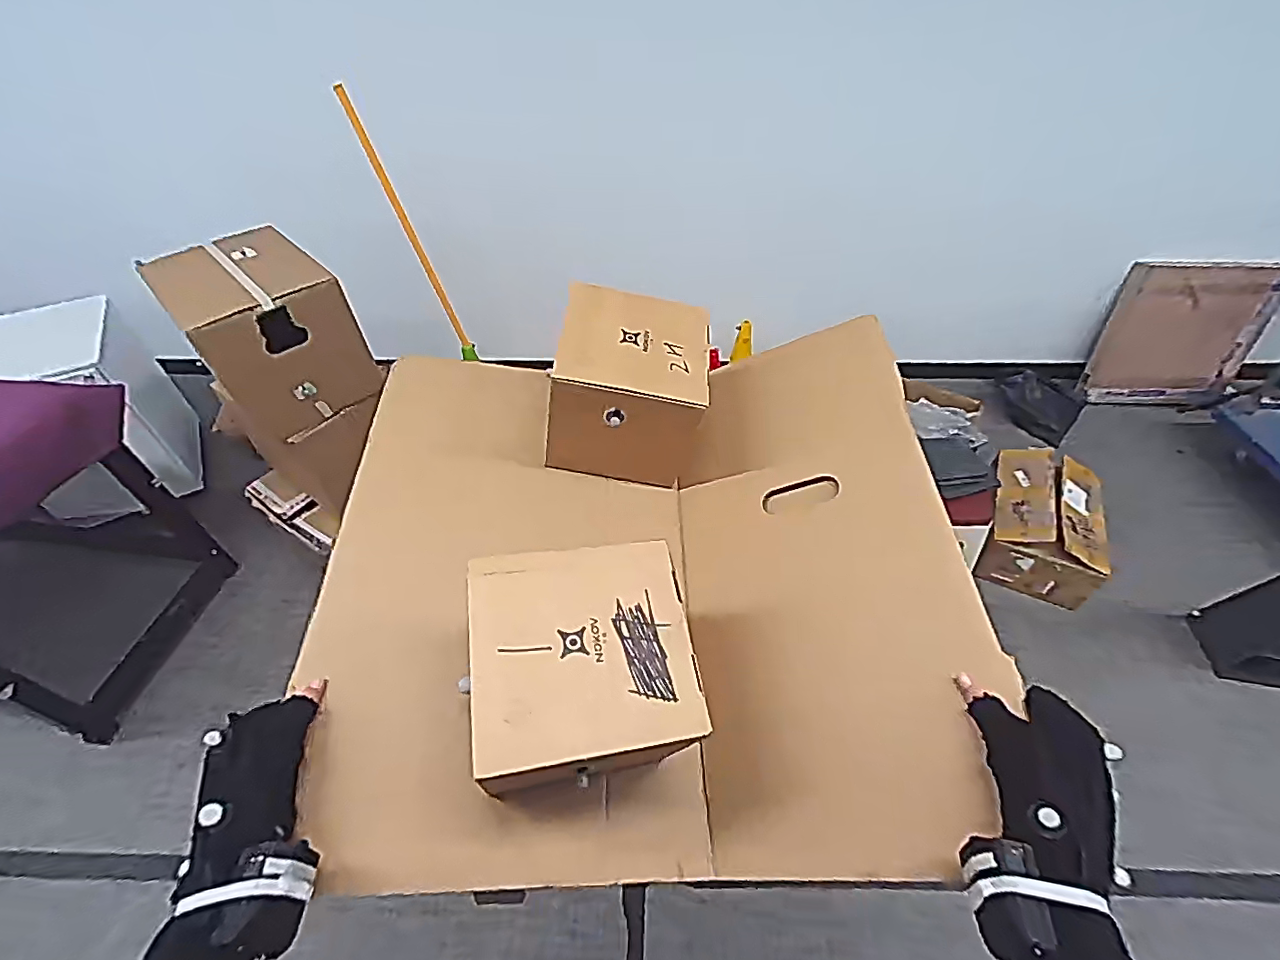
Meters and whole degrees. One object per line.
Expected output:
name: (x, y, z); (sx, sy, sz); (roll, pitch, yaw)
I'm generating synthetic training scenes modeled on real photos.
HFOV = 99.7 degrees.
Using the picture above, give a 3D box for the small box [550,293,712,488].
small box: (-0.016, -0.108, 0.700); (0.179, 0.176, 0.168); (11, 56, -6)

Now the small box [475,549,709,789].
small box: (-0.057, 0.178, 0.502); (0.179, 0.176, 0.168); (-3, 58, -14)
